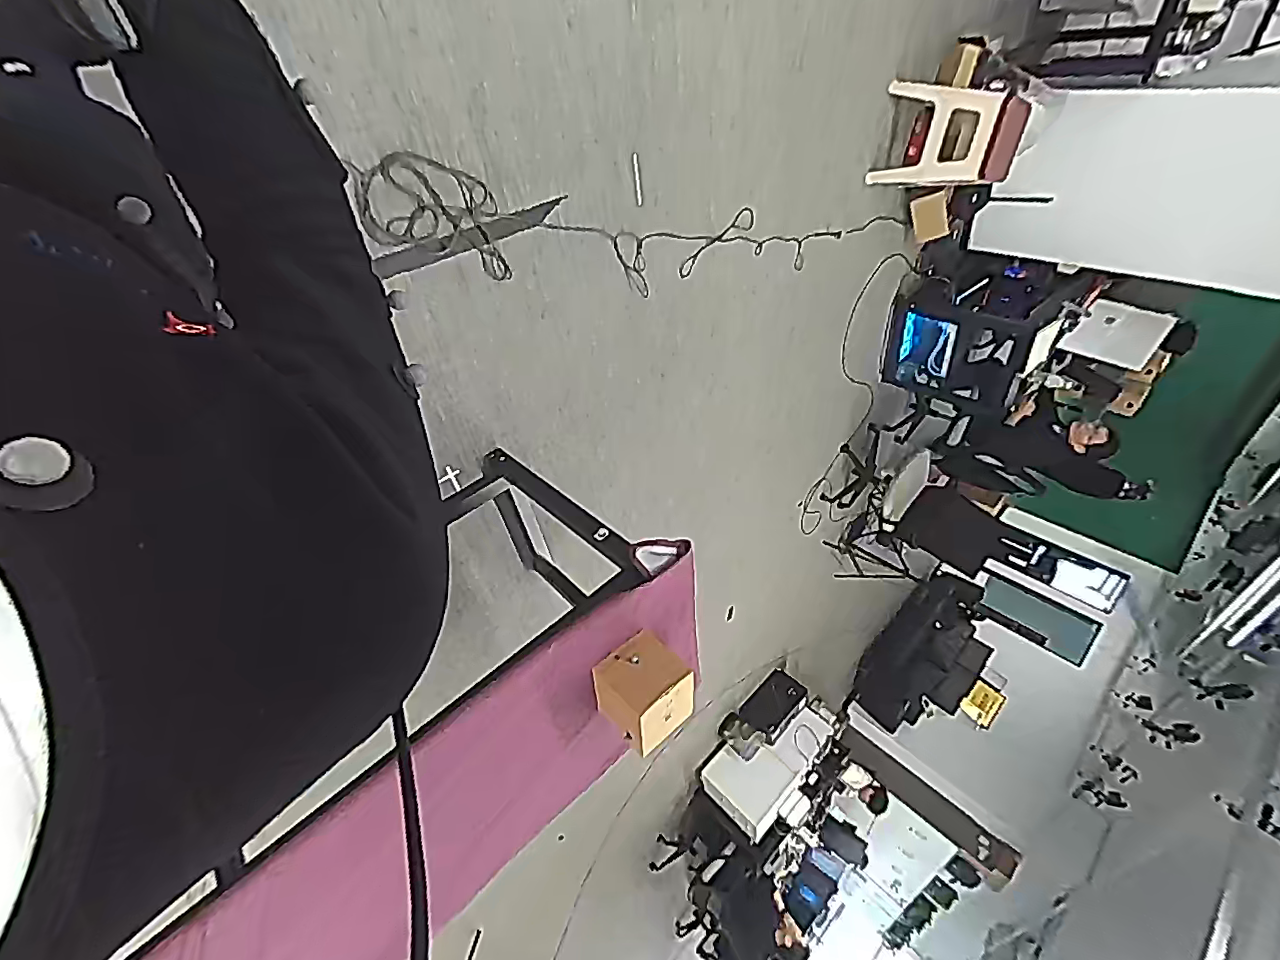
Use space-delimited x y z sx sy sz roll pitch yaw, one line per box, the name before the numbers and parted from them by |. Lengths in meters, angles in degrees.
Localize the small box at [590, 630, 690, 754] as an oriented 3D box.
small box | -0.001 0.493 1.277 0.168 0.176 0.179 -30 133 -33
